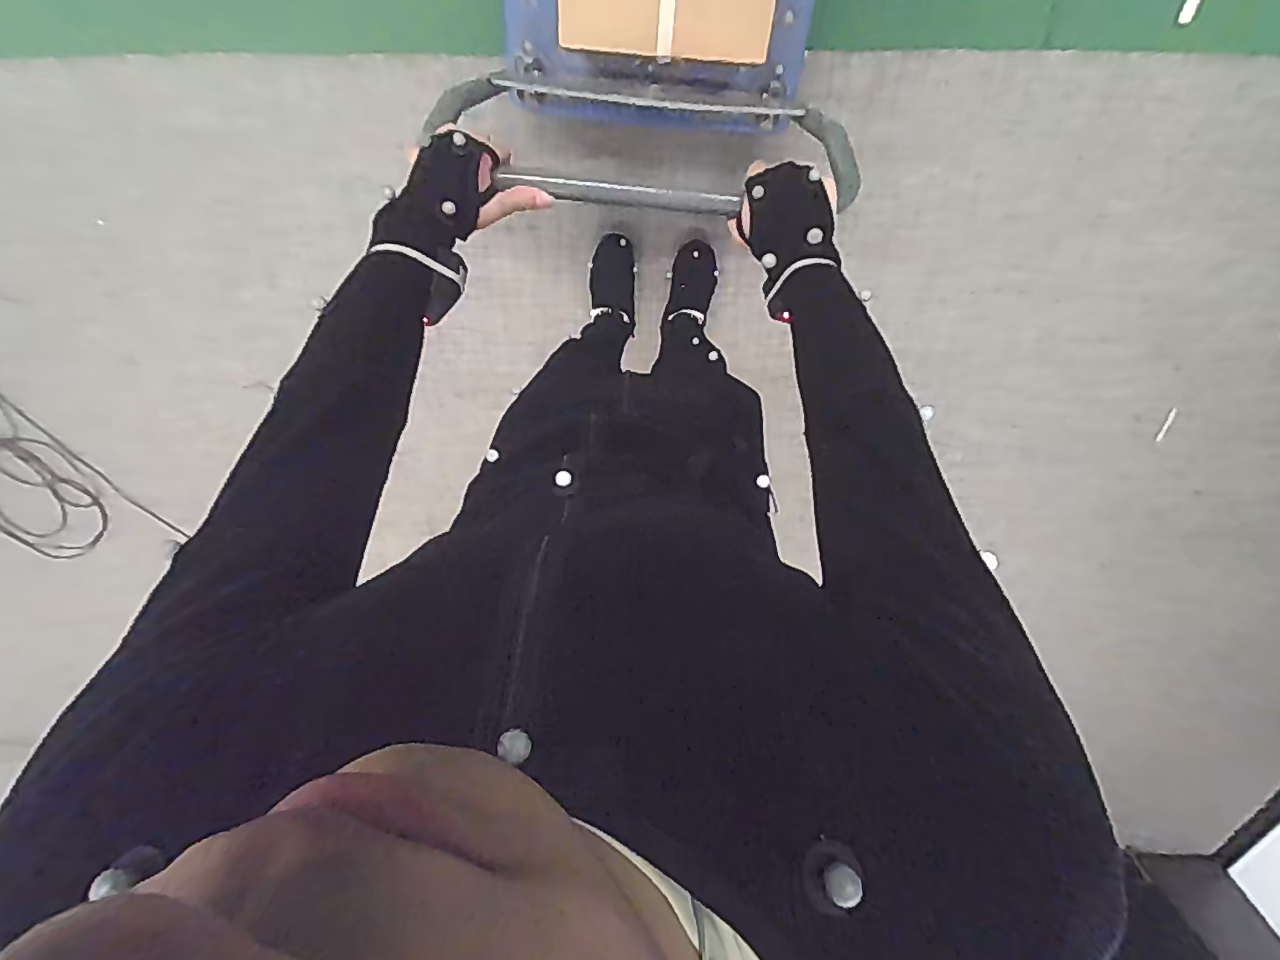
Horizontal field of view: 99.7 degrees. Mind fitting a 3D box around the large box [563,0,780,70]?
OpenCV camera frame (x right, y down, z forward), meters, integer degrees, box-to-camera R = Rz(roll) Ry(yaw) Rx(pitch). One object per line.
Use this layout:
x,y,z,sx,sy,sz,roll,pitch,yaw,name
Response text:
0.059,-0.881,0.816,0.320,0.320,0.408,4,126,-1,large box
